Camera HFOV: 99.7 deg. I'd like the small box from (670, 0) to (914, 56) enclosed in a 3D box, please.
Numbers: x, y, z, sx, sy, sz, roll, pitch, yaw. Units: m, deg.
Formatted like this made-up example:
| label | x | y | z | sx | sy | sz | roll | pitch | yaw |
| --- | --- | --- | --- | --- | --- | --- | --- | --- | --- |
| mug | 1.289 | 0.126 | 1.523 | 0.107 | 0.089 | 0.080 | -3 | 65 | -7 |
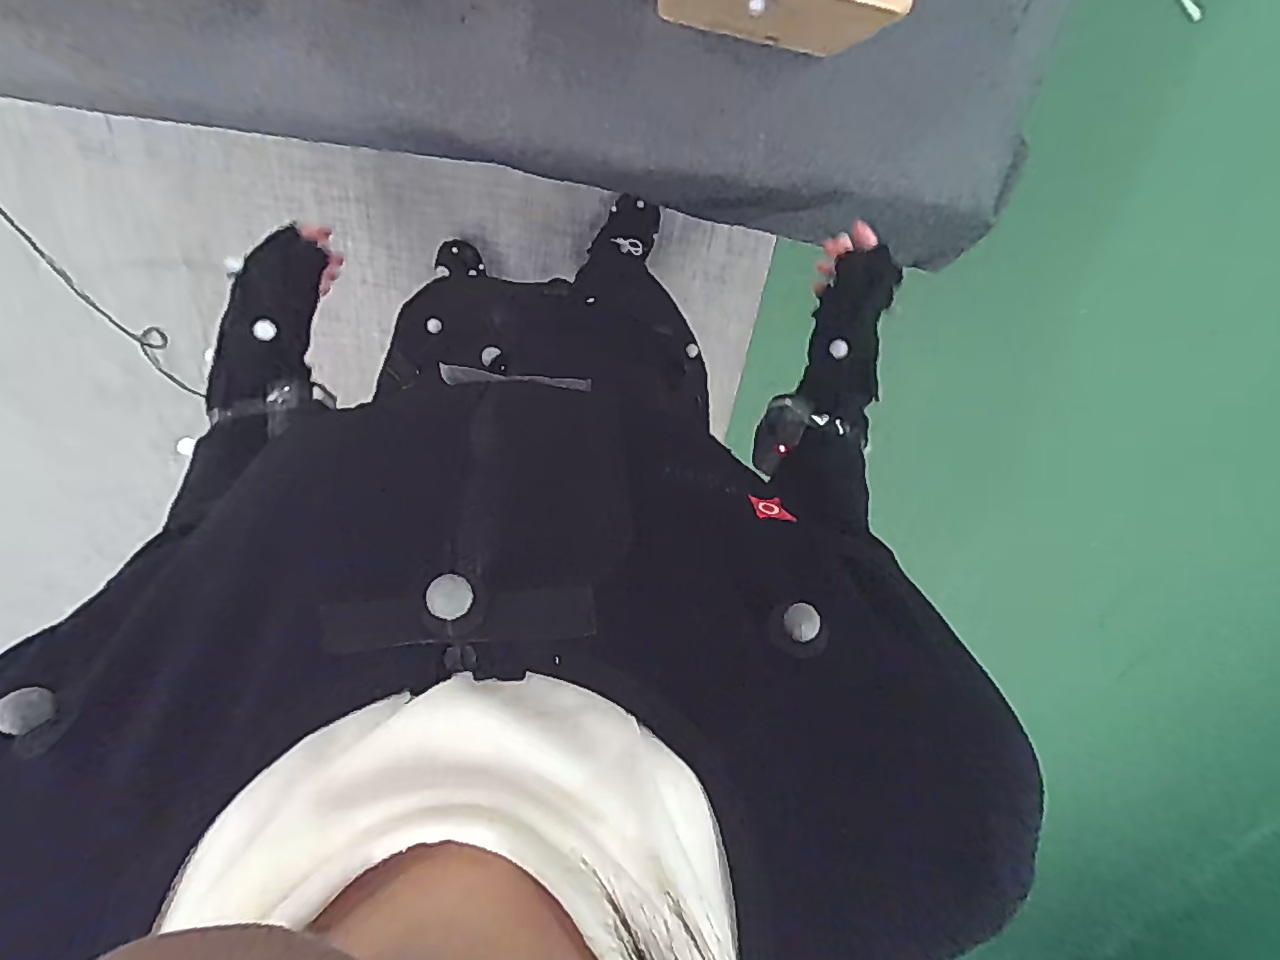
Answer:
| label | x | y | z | sx | sy | sz | roll | pitch | yaw |
| --- | --- | --- | --- | --- | --- | --- | --- | --- | --- |
| small box | 0.116 | -0.439 | 0.384 | 0.168 | 0.176 | 0.179 | 9 | 119 | -5 |
